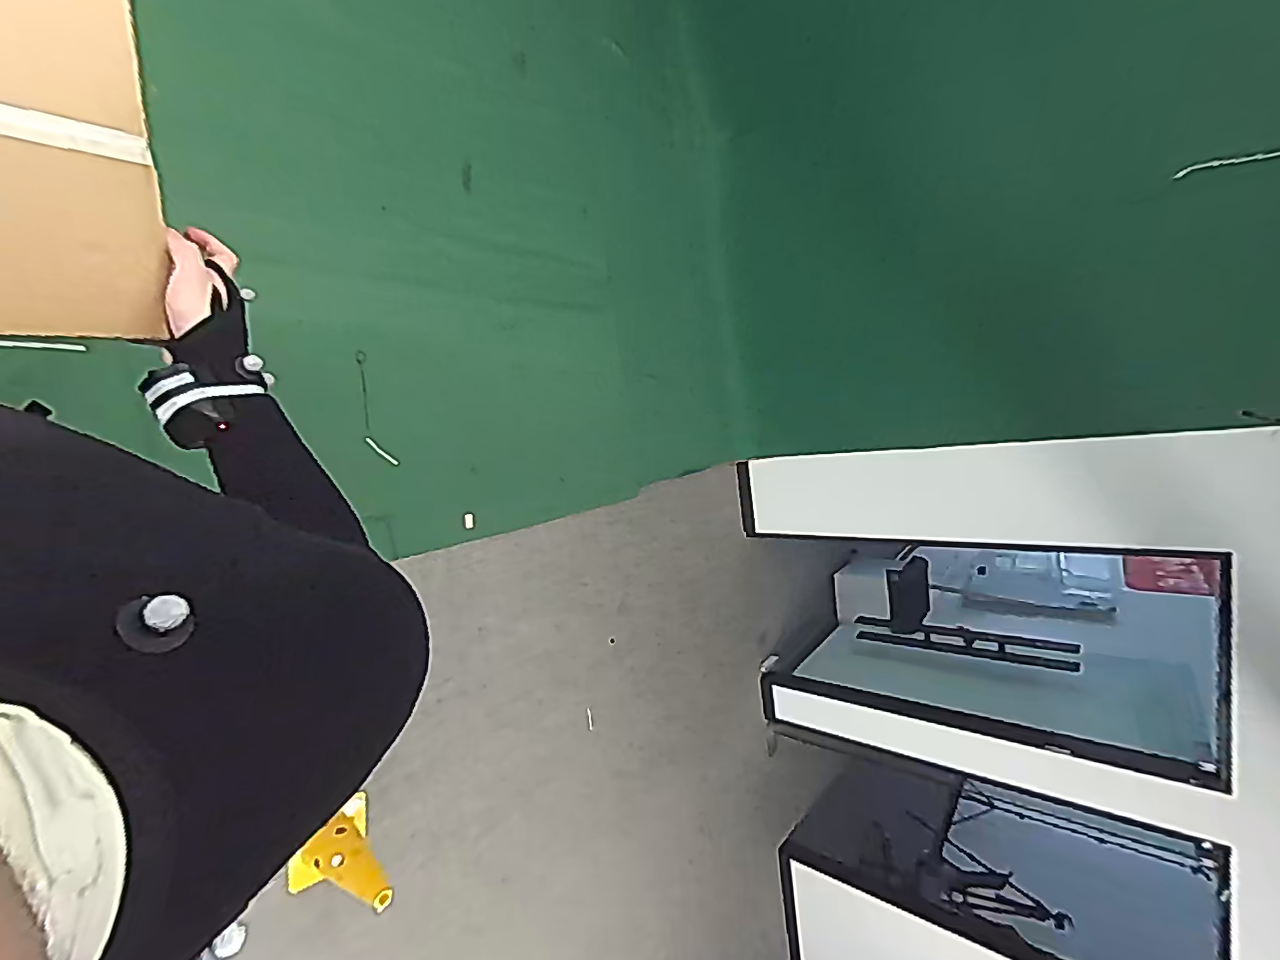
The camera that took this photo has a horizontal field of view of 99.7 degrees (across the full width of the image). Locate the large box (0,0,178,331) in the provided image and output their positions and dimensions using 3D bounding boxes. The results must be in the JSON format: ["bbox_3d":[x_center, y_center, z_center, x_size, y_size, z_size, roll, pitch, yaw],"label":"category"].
[{"bbox_3d":[-0.668,-0.289,0.407,0.408,0.320,0.320,-16,119,-50],"label":"large box"}]
